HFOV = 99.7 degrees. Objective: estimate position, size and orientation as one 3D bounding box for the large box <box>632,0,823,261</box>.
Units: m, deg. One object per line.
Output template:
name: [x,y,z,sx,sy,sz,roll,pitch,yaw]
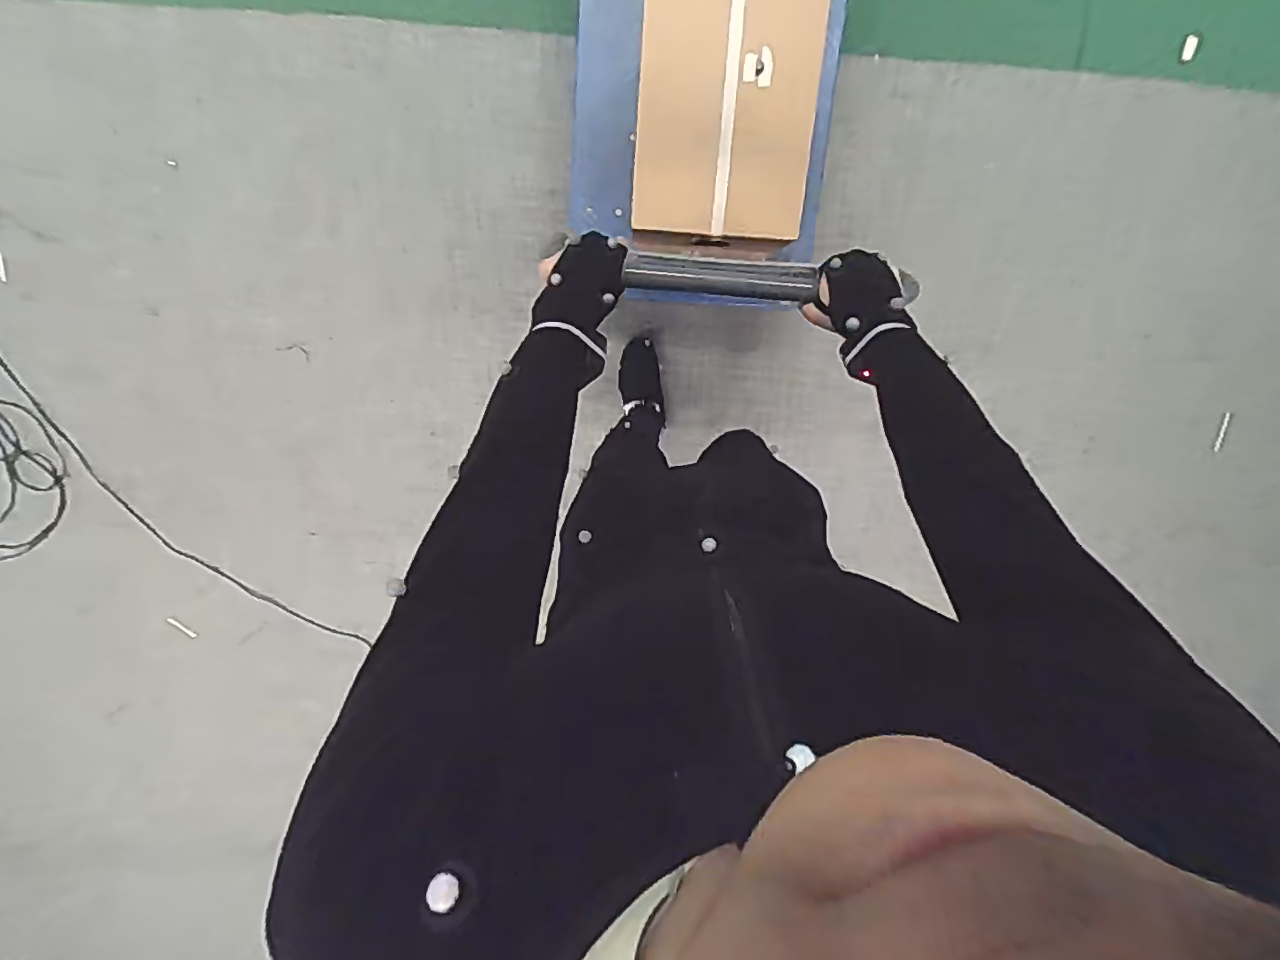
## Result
large box: [0.151,-0.687,1.104,0.320,0.320,0.408,4,104,-1]
